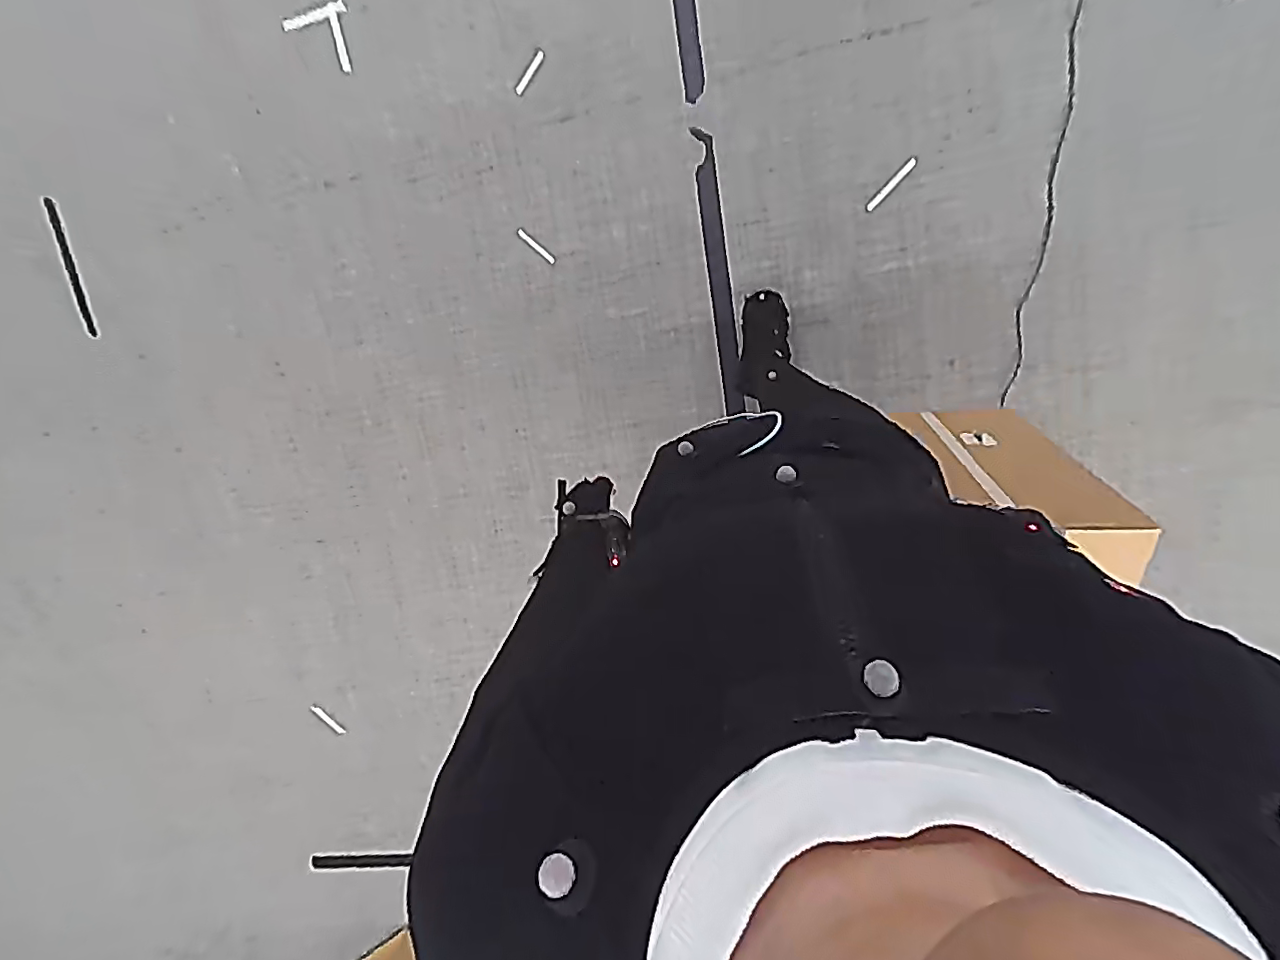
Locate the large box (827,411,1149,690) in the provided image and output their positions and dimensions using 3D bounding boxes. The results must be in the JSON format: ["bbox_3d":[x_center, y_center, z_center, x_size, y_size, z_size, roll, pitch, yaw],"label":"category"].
[{"bbox_3d":[0.524,0.100,0.932,0.320,0.408,0.320,-1,116,8],"label":"large box"}]
